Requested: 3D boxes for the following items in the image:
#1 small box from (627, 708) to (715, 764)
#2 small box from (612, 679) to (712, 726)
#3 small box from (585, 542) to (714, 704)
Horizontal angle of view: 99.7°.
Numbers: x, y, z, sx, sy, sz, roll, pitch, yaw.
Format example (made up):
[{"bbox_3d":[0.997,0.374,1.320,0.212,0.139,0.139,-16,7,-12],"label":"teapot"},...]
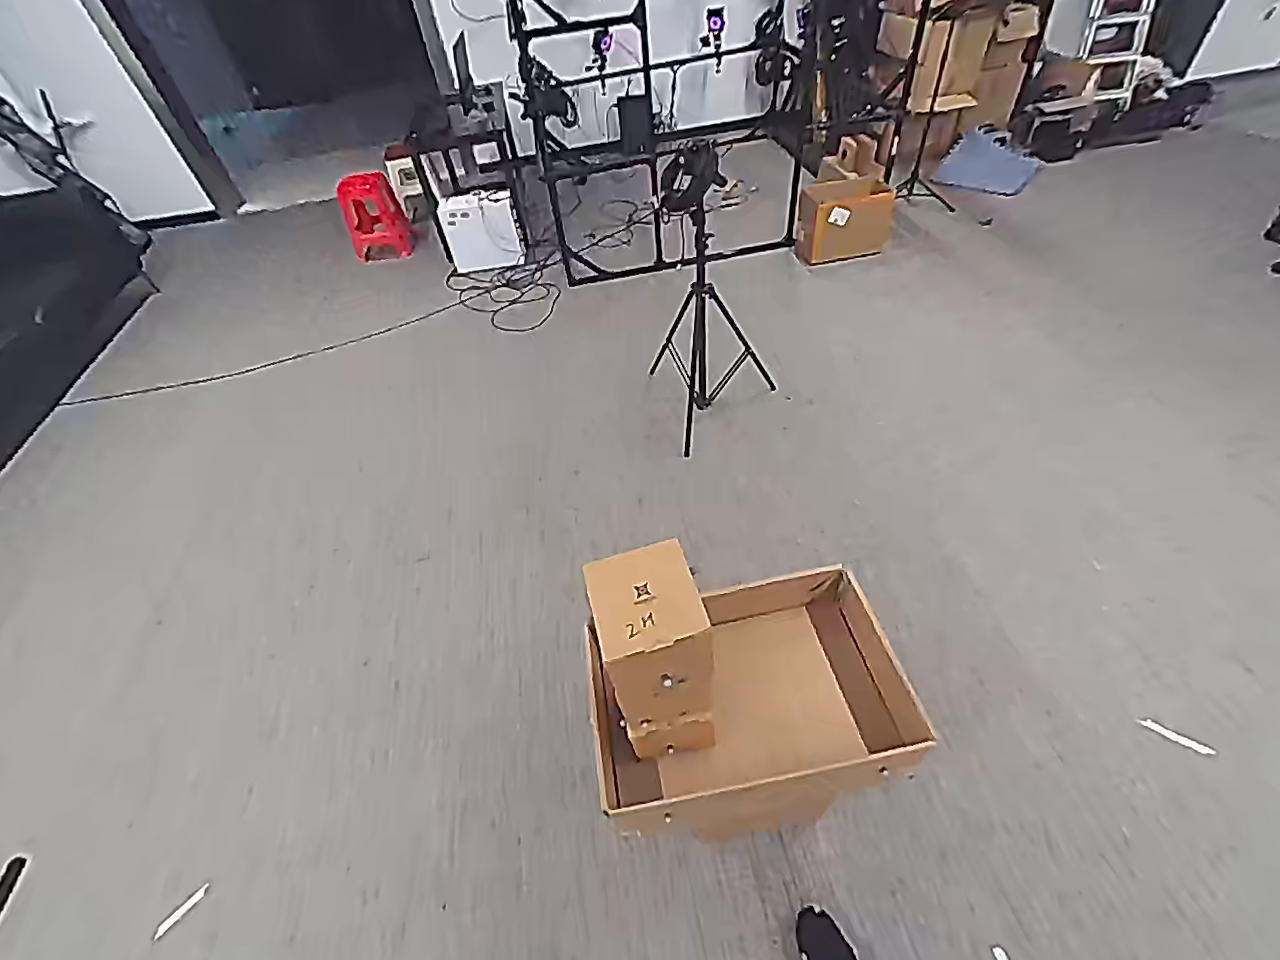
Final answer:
[{"bbox_3d":[0.054,0.460,1.123,0.168,0.176,0.179,-13,47,-2],"label":"small box"},{"bbox_3d":[0.034,0.340,1.011,0.168,0.176,0.179,-13,47,-2],"label":"small box"},{"bbox_3d":[0.016,0.235,0.886,0.168,0.176,0.179,-16,48,-5],"label":"small box"}]
